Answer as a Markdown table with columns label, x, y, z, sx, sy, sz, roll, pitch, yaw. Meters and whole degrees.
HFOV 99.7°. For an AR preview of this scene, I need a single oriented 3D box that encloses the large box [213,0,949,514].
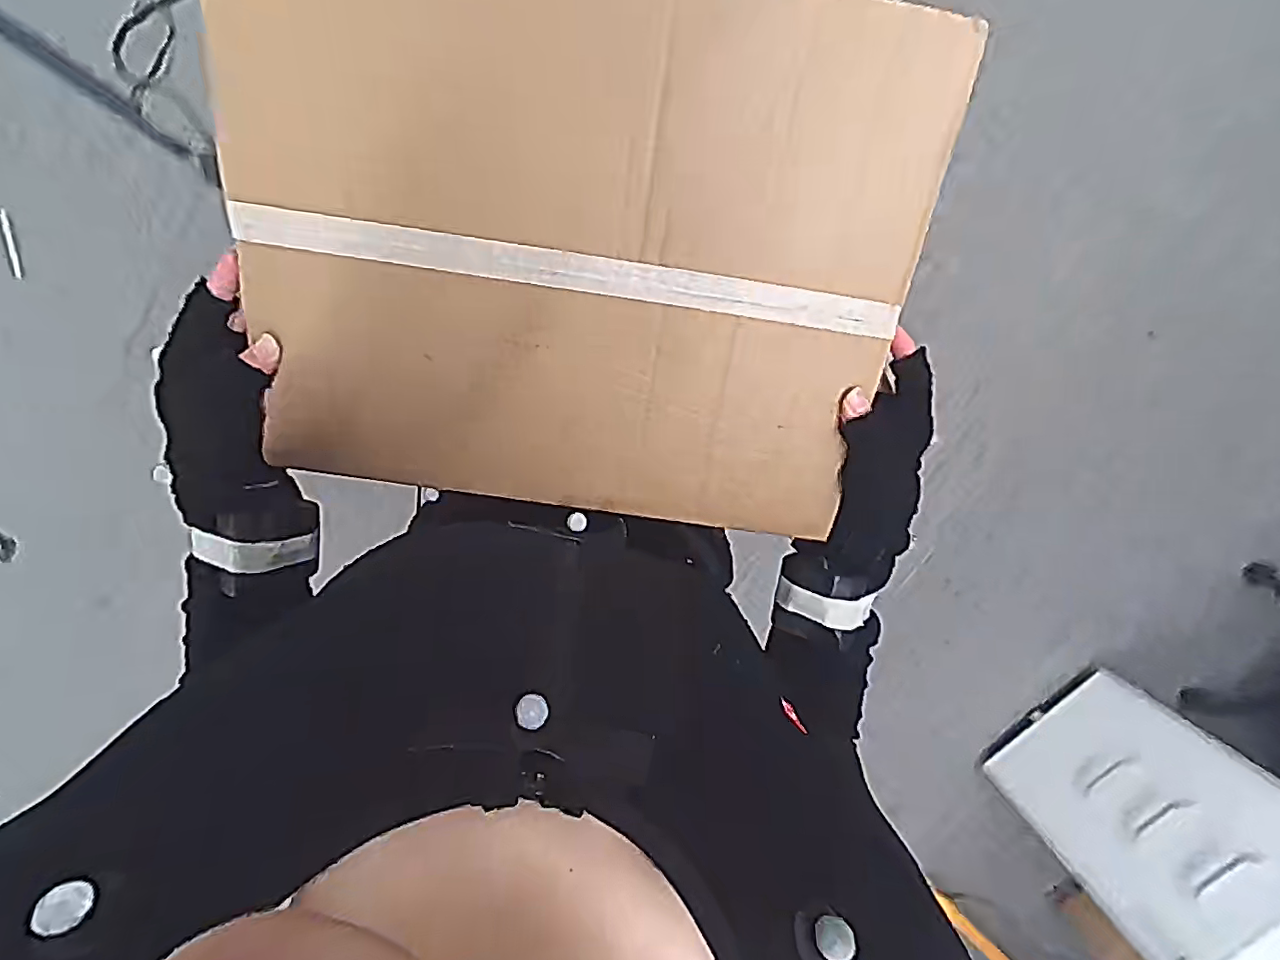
| label | x | y | z | sx | sy | sz | roll | pitch | yaw |
| --- | --- | --- | --- | --- | --- | --- | --- | --- | --- |
| large box | -0.046 | -0.190 | 0.477 | 0.408 | 0.320 | 0.320 | 6 | 114 | -3 |
